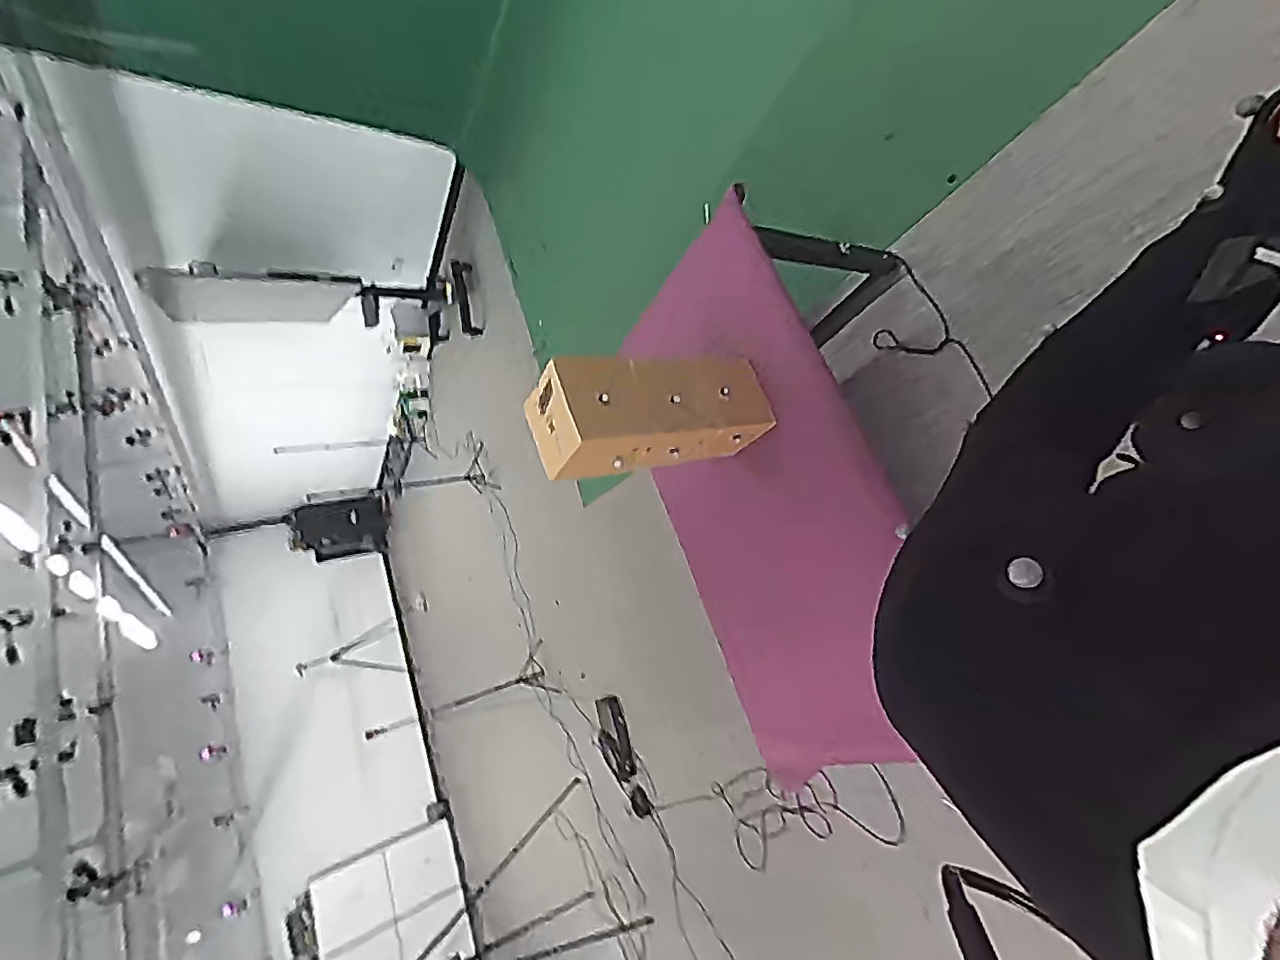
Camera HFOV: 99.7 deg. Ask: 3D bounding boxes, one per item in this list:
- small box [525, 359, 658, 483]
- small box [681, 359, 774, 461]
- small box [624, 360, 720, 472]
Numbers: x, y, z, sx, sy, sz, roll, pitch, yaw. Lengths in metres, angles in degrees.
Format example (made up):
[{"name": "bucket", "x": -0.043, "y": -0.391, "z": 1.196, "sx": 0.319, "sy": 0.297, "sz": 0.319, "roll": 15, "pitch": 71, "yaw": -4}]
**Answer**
[{"name": "small box", "x": -0.096, "y": -0.114, "z": 1.042, "sx": 0.168, "sy": 0.176, "sz": 0.179, "roll": -43, "pitch": 65, "yaw": 50}, {"name": "small box", "x": 0.171, "y": -0.163, "z": 1.227, "sx": 0.168, "sy": 0.176, "sz": 0.179, "roll": -39, "pitch": 67, "yaw": 51}, {"name": "small box", "x": 0.039, "y": -0.138, "z": 1.135, "sx": 0.168, "sy": 0.176, "sz": 0.179, "roll": -41, "pitch": 67, "yaw": 50}]
